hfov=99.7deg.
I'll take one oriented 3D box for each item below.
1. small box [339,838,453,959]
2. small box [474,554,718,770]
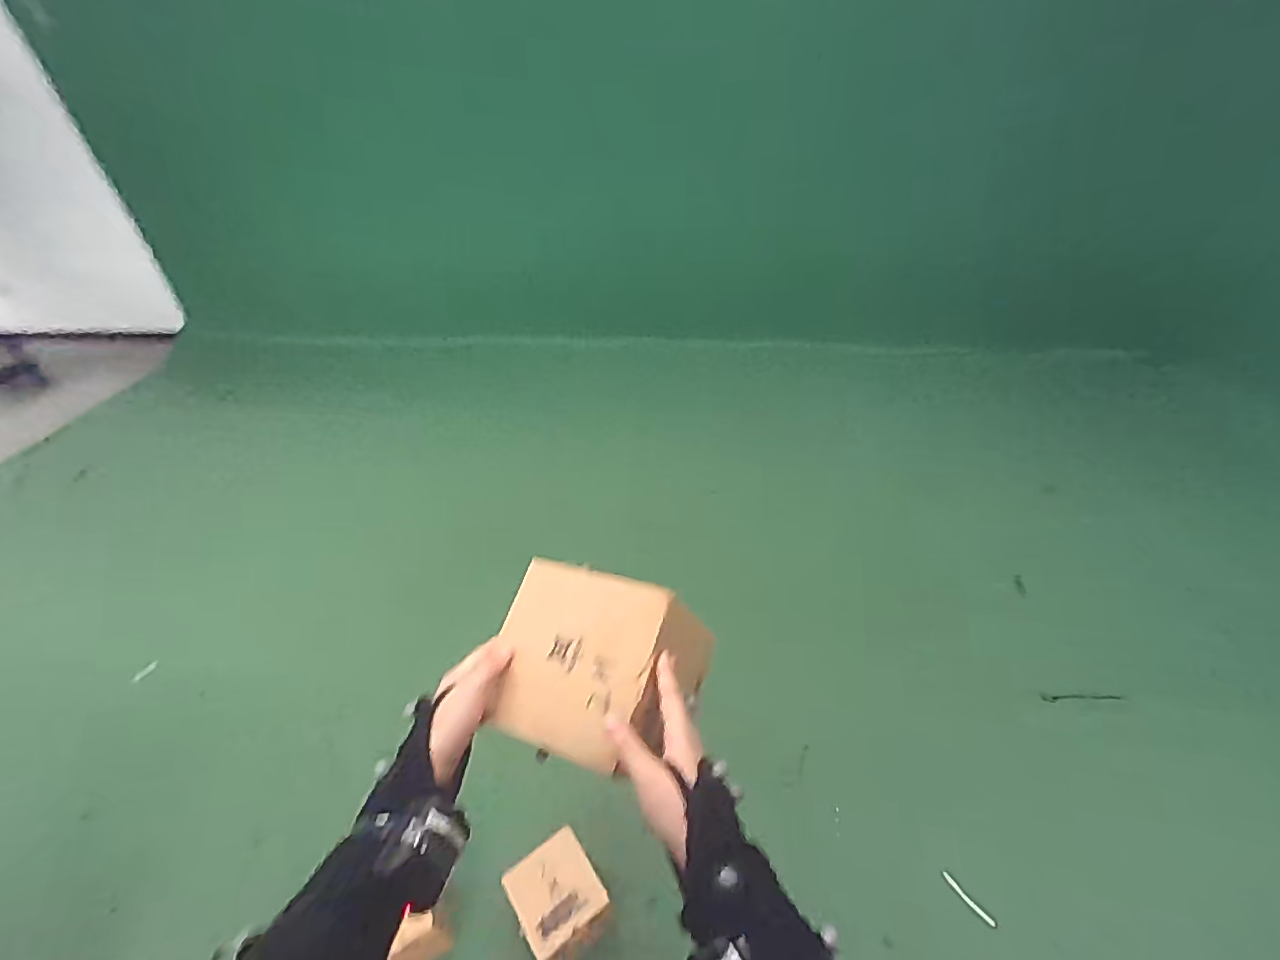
[{"bbox_3d":[-0.518,0.922,1.155,0.168,0.176,0.179,-21,44,-21],"label":"small box"},{"bbox_3d":[-0.034,0.198,0.581,0.179,0.176,0.168,8,66,27],"label":"small box"}]
